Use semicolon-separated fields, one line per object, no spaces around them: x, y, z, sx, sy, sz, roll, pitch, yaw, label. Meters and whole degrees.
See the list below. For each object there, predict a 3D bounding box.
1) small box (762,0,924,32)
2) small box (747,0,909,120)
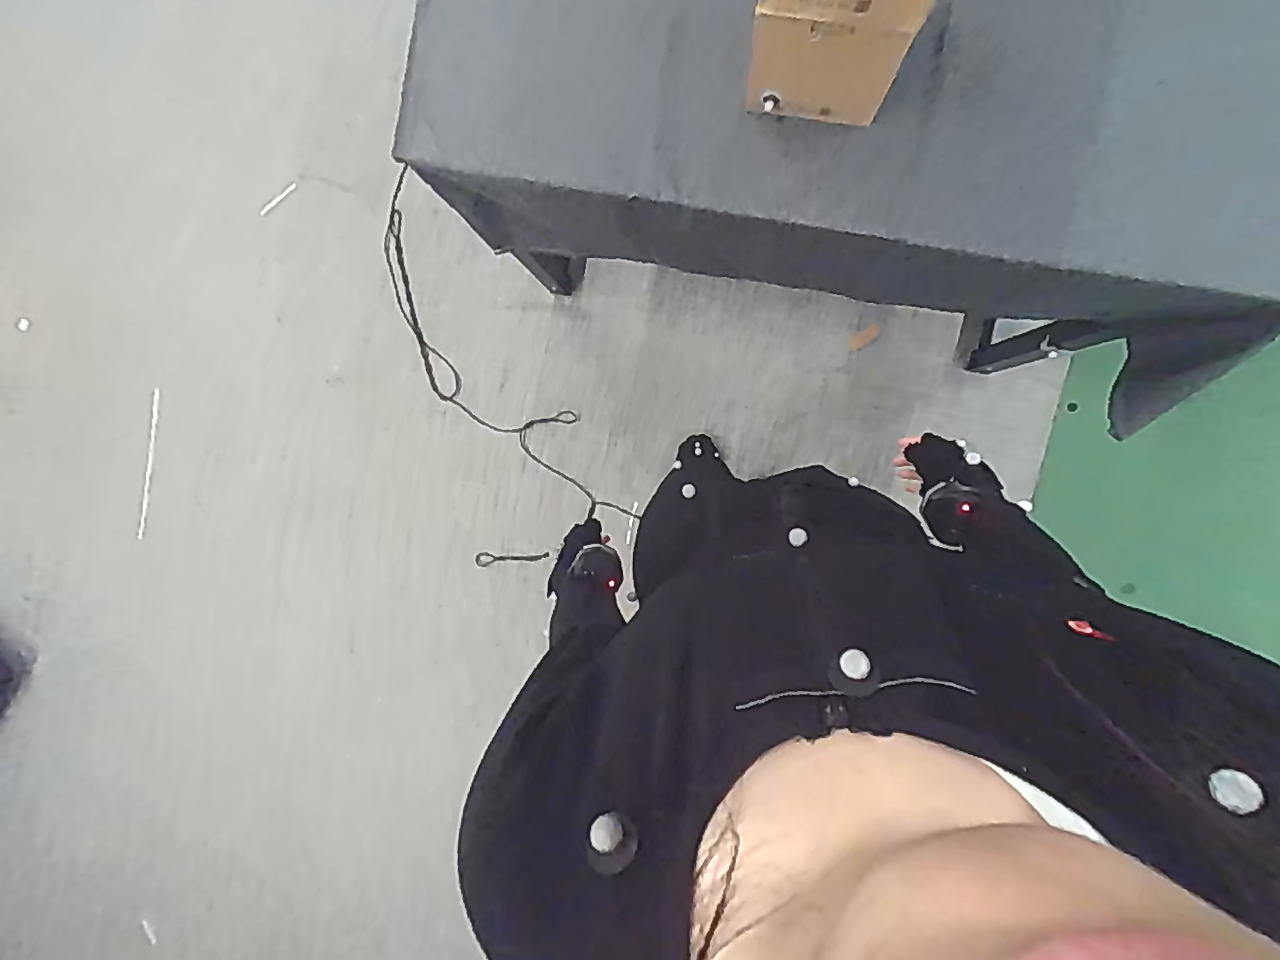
0.204;-0.551;0.469;0.168;0.176;0.179;12;95;6;small box
0.223;-0.560;0.630;0.168;0.176;0.179;12;94;6;small box
